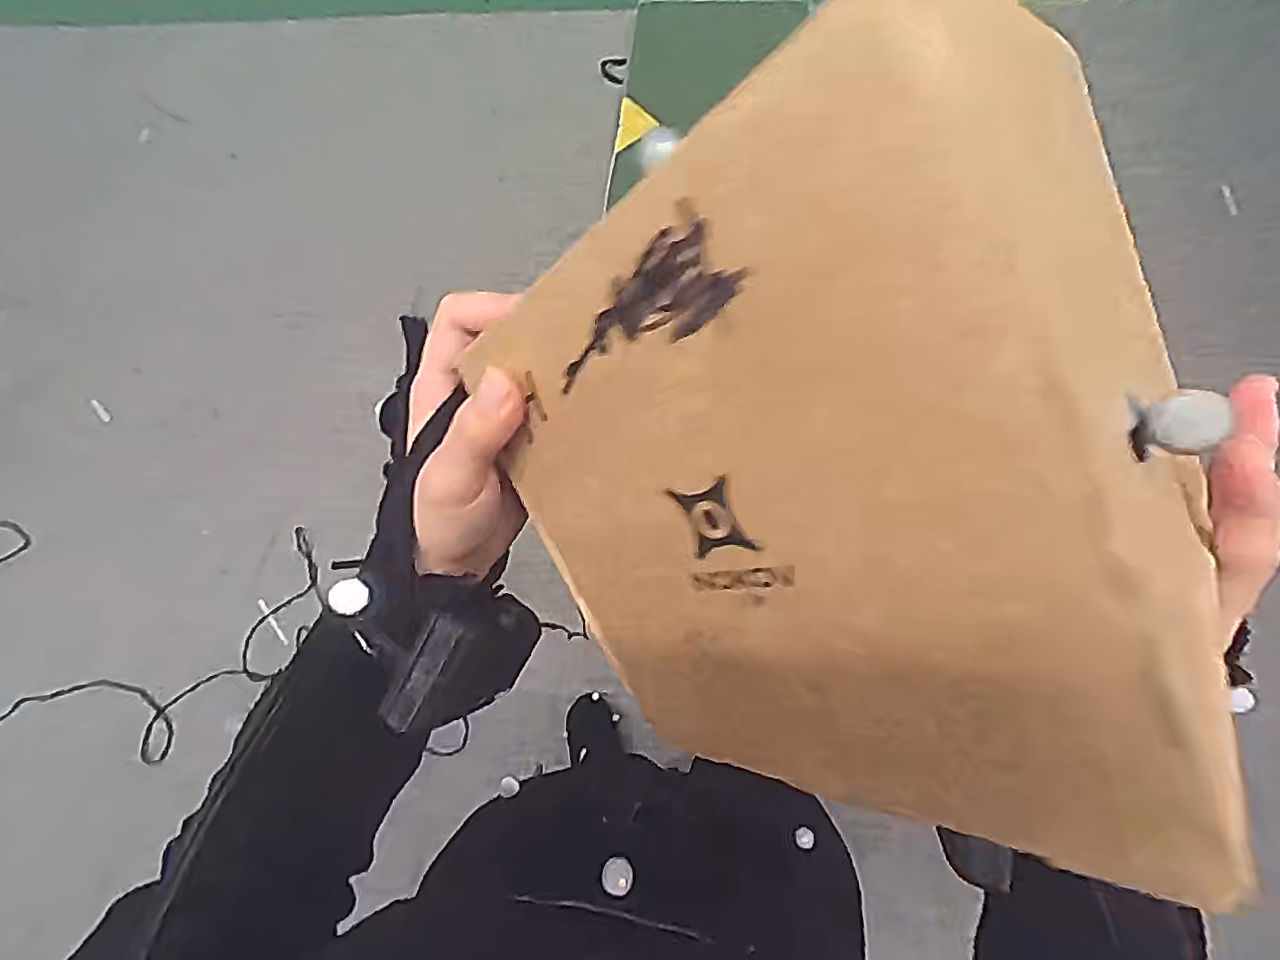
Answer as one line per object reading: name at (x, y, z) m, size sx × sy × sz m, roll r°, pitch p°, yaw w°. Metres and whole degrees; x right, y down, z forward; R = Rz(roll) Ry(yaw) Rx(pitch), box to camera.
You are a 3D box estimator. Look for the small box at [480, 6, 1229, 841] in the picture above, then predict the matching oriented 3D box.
small box at (0.081, -0.021, 0.207) m, size 0.176 × 0.168 × 0.179 m, roll -35°, pitch 102°, yaw -42°
